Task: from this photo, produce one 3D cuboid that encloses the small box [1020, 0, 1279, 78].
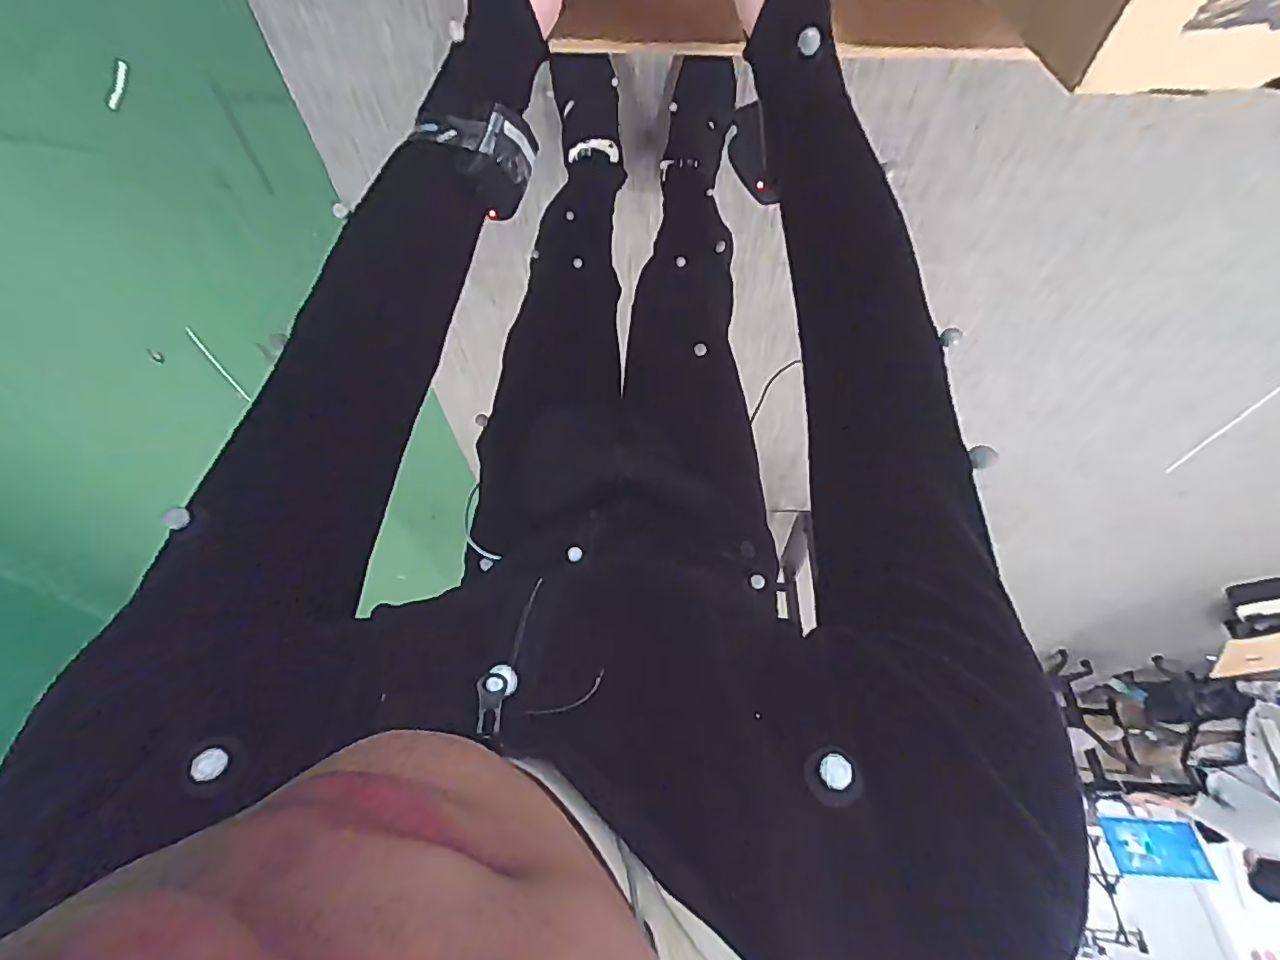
[{"bbox_3d":[0.263,-0.283,0.198,0.168,0.176,0.179,1,146,1],"label":"small box"}]
